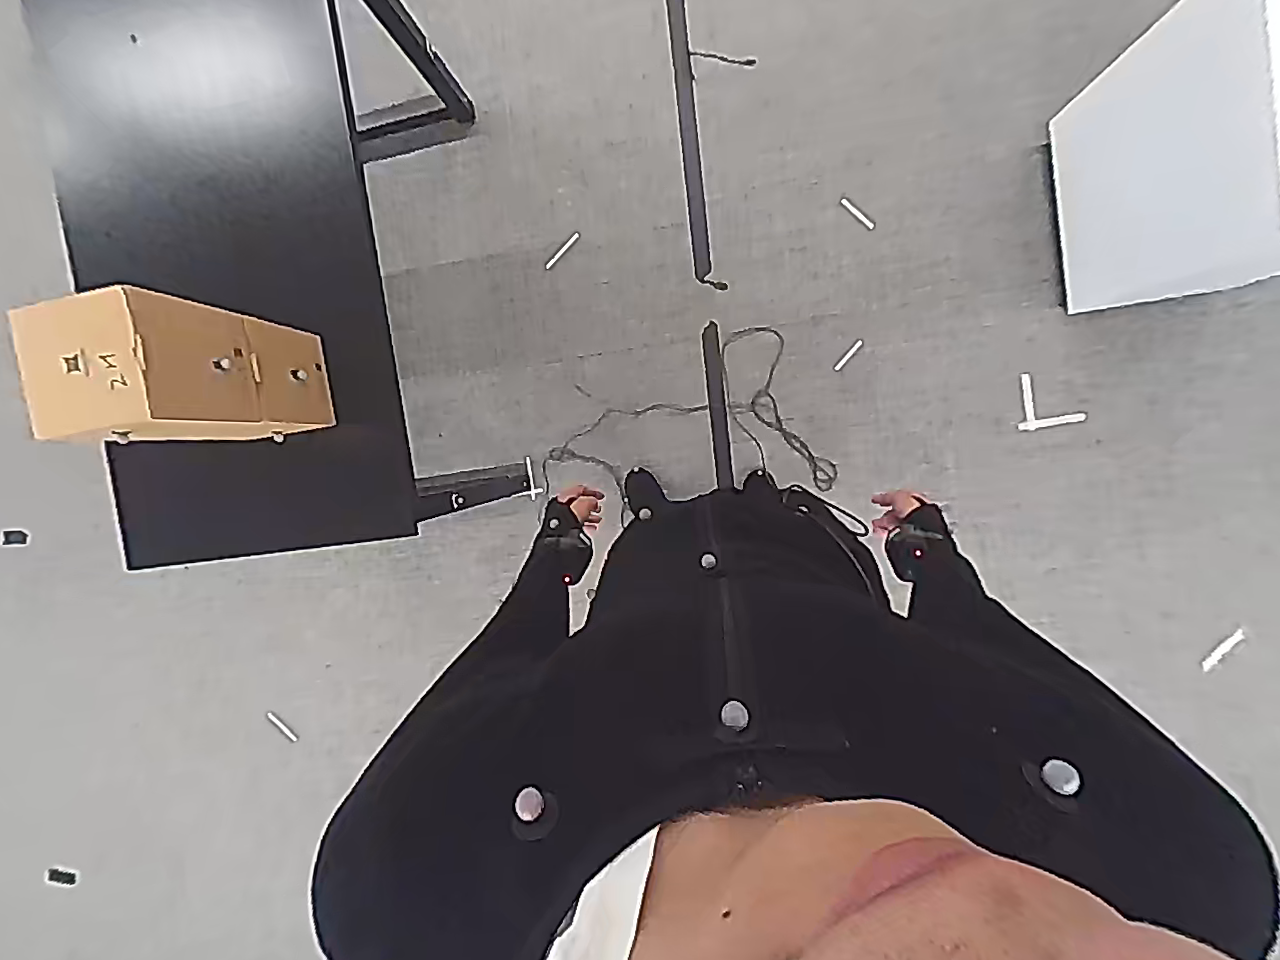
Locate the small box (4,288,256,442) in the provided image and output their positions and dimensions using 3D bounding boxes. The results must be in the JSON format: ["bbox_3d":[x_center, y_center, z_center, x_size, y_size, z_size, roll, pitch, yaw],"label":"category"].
[{"bbox_3d":[-0.677,-0.143,0.737,0.179,0.176,0.168,-8,93,7],"label":"small box"}]

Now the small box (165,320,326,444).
[{"bbox_3d":[-0.656,-0.155,0.901,0.179,0.176,0.168,-9,93,7],"label":"small box"}]
